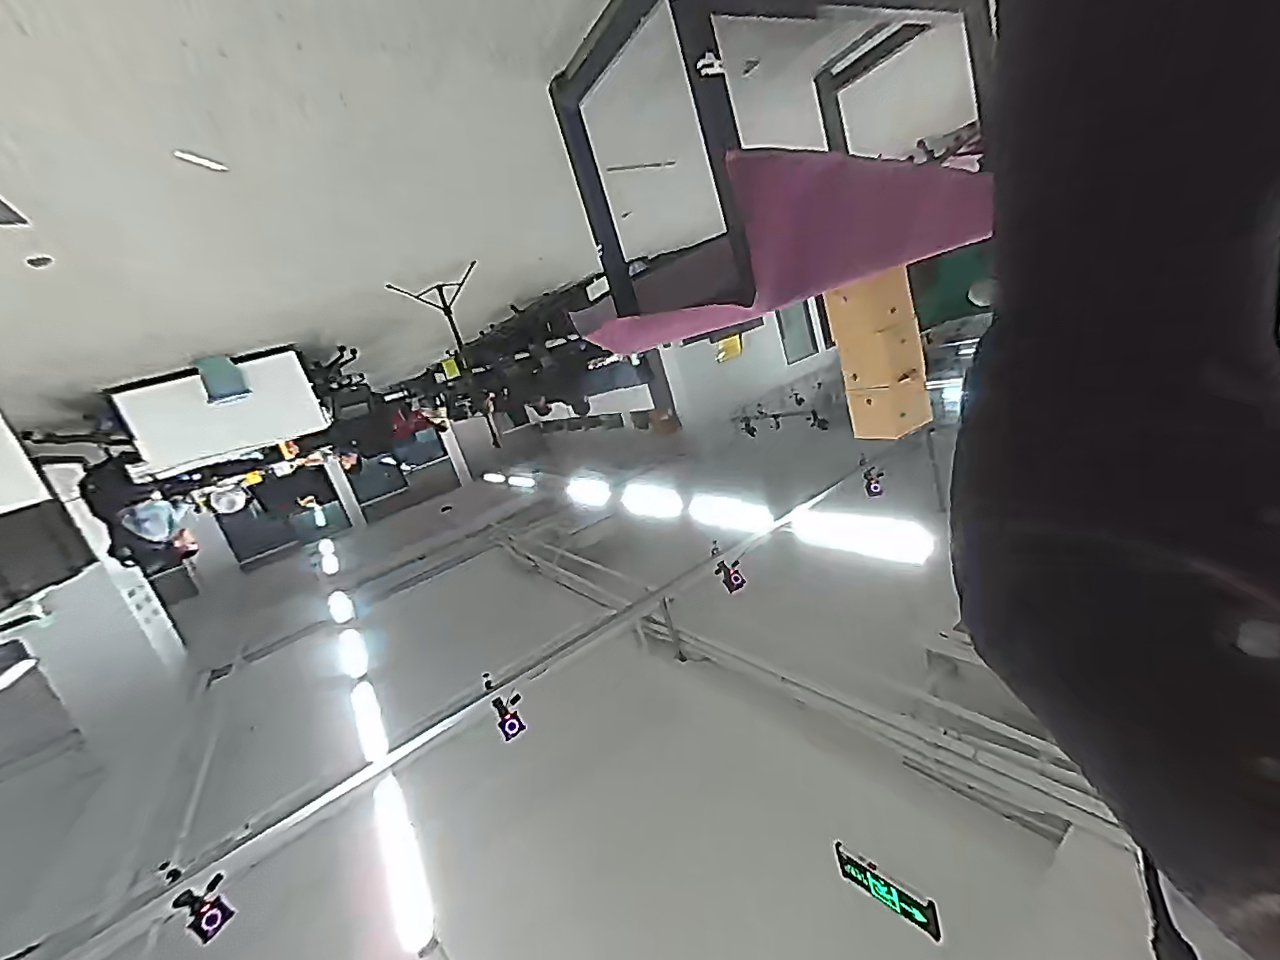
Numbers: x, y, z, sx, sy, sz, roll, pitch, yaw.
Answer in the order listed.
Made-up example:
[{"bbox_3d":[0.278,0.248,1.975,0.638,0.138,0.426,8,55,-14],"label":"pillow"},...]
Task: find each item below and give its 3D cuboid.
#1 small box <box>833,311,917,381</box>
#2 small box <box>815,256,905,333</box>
[{"bbox_3d":[0.727,-0.419,1.690,0.168,0.176,0.179,-26,-164,-23],"label":"small box"},{"bbox_3d":[0.663,-0.561,1.633,0.179,0.176,0.168,-23,-165,-19],"label":"small box"}]
